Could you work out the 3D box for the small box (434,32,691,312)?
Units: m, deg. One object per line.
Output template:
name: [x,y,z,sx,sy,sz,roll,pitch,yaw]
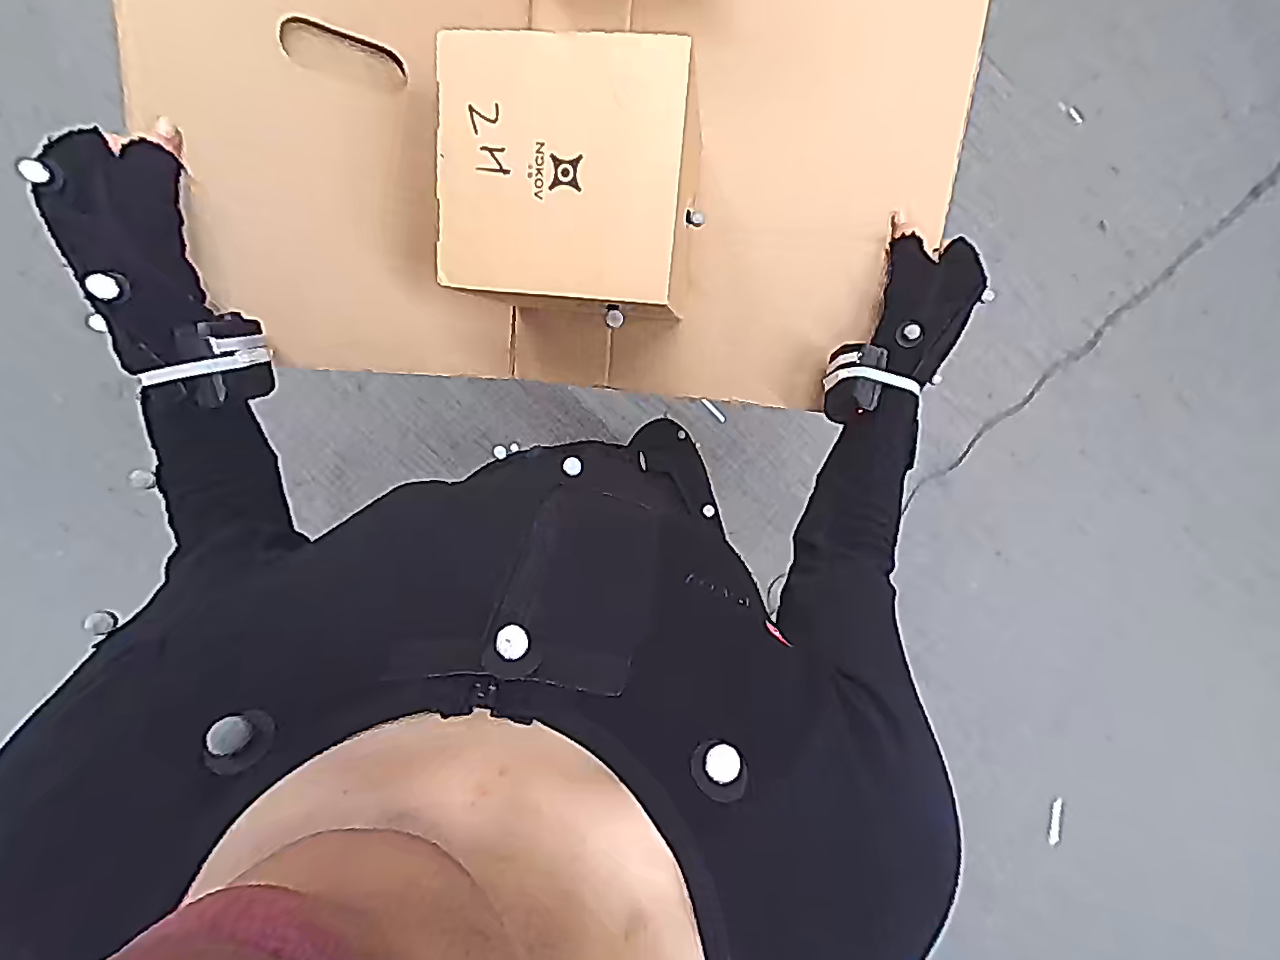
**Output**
small box: [-0.052,-0.238,0.459,0.179,0.176,0.168,6,103,7]
